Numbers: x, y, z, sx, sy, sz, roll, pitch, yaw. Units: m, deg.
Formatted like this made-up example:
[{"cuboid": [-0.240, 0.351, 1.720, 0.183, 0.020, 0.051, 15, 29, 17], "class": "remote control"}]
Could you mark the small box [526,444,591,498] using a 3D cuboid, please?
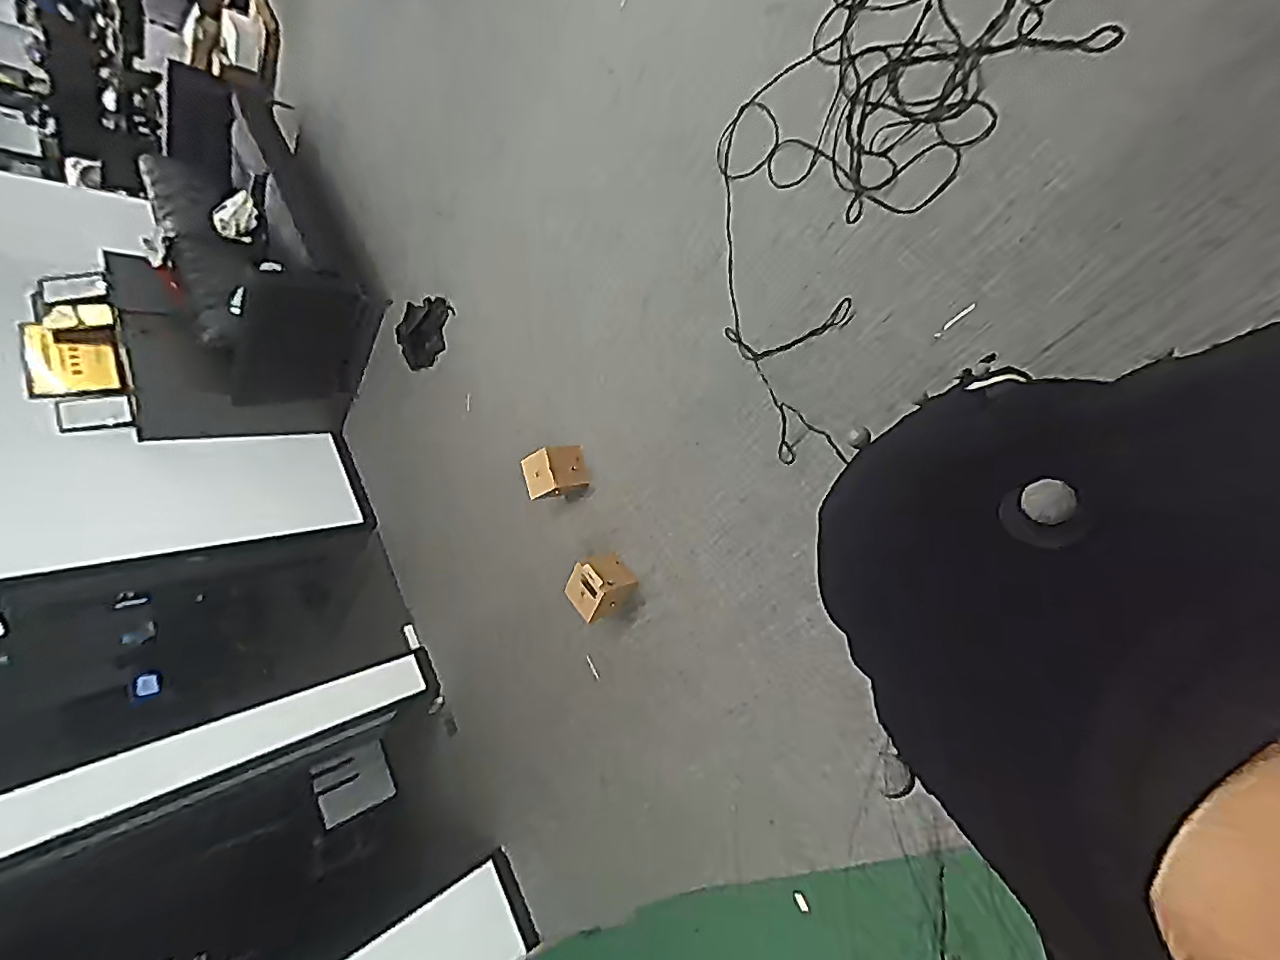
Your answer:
[{"cuboid": [-0.322, -0.036, 2.137, 0.179, 0.176, 0.168, -24, 79, 43], "class": "small box"}]
